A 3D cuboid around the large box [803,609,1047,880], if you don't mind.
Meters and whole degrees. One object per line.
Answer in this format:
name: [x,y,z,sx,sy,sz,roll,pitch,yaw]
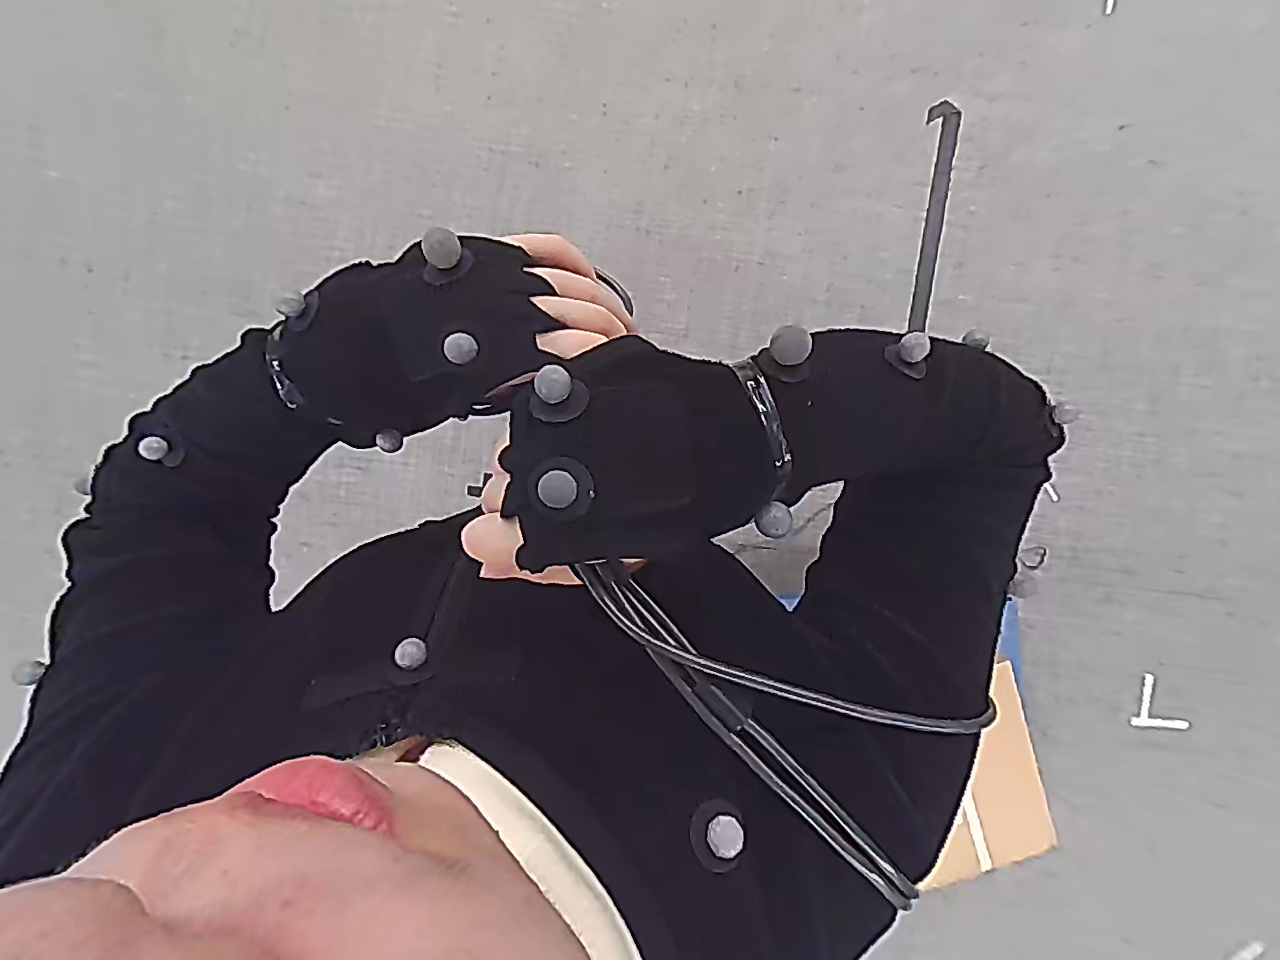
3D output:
large box: [0.610,0.561,1.218,0.320,0.320,0.408,-16,94,0]
